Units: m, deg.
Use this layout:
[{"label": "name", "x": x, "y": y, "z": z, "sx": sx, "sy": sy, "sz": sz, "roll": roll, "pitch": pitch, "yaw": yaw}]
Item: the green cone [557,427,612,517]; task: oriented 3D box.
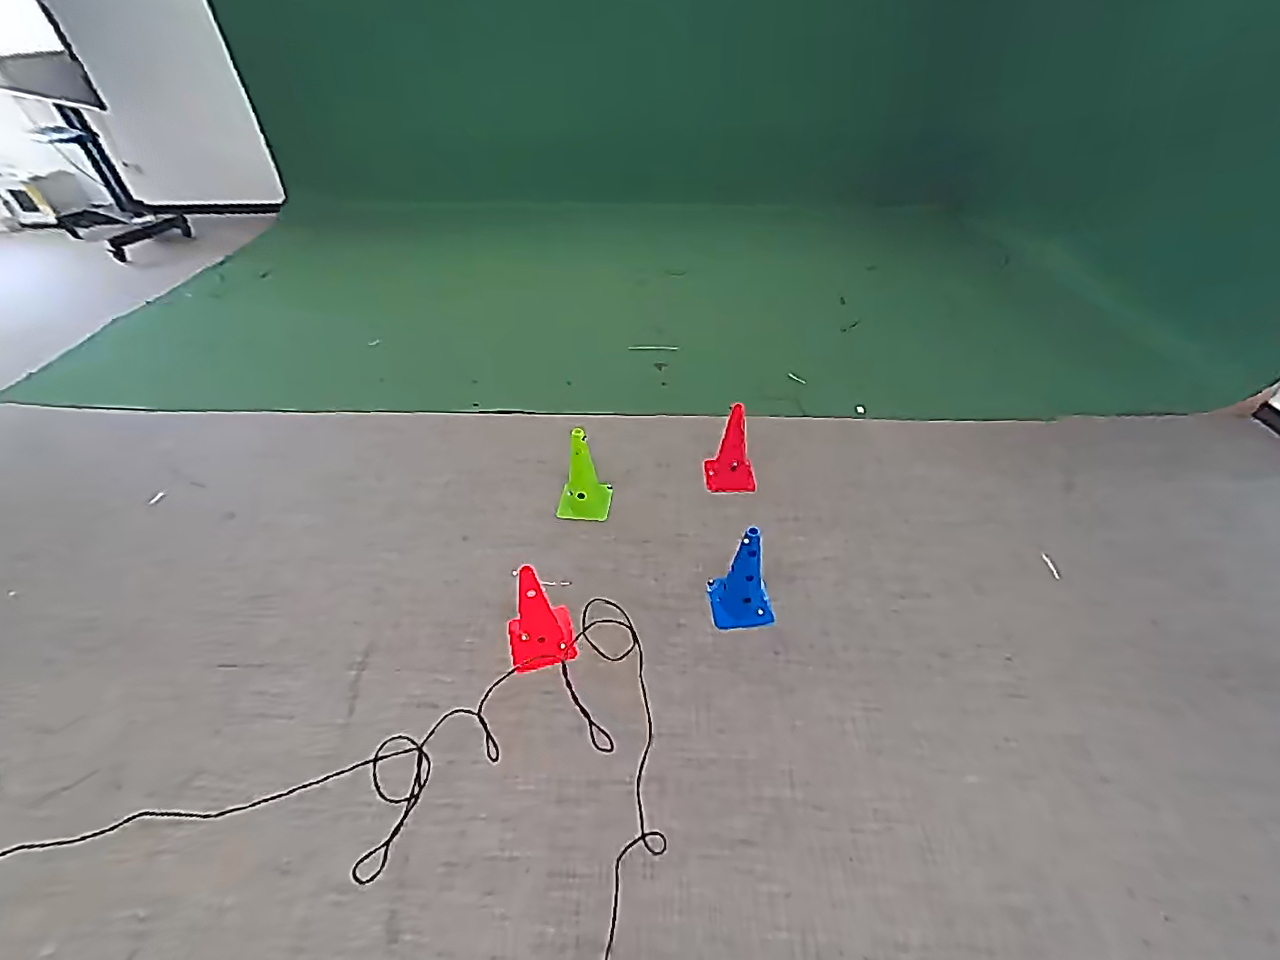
[{"label": "green cone", "x": -0.225, "y": -0.052, "z": 2.050, "sx": 0.200, "sy": 0.368, "sz": 0.202, "roll": 2, "pitch": 44, "yaw": 4}]

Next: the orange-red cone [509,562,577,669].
[{"label": "orange-red cone", "x": -0.309, "y": 0.368, "z": 1.600, "sx": 0.198, "sy": 0.360, "sz": 0.199, "roll": -11, "pitch": 42, "yaw": -12}]
